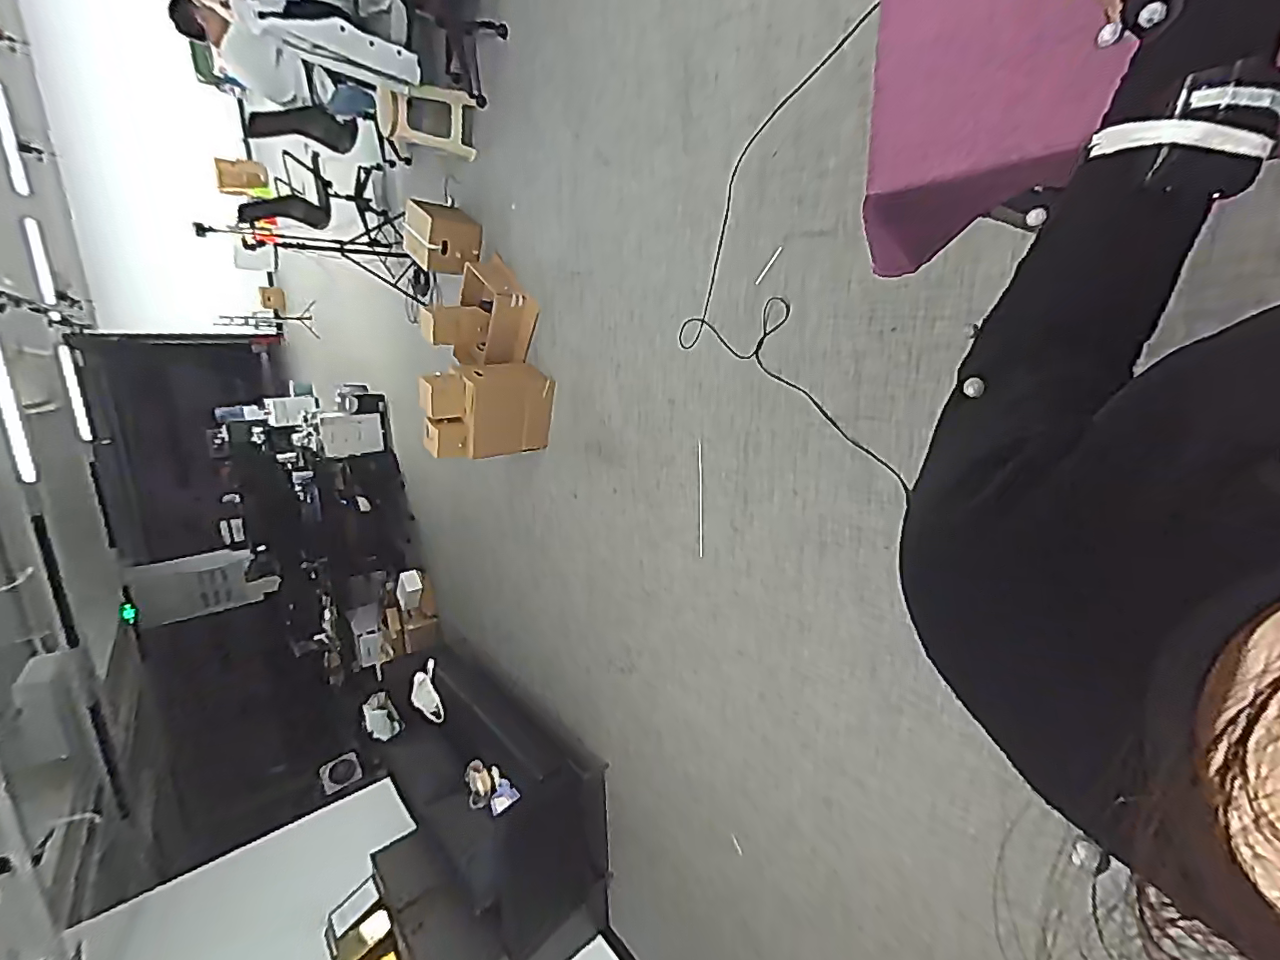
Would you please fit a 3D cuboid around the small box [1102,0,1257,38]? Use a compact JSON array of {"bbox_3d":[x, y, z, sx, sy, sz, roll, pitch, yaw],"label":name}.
[{"bbox_3d":[0.457,-0.489,0.400,0.168,0.176,0.179,18,106,48],"label":"small box"}]
